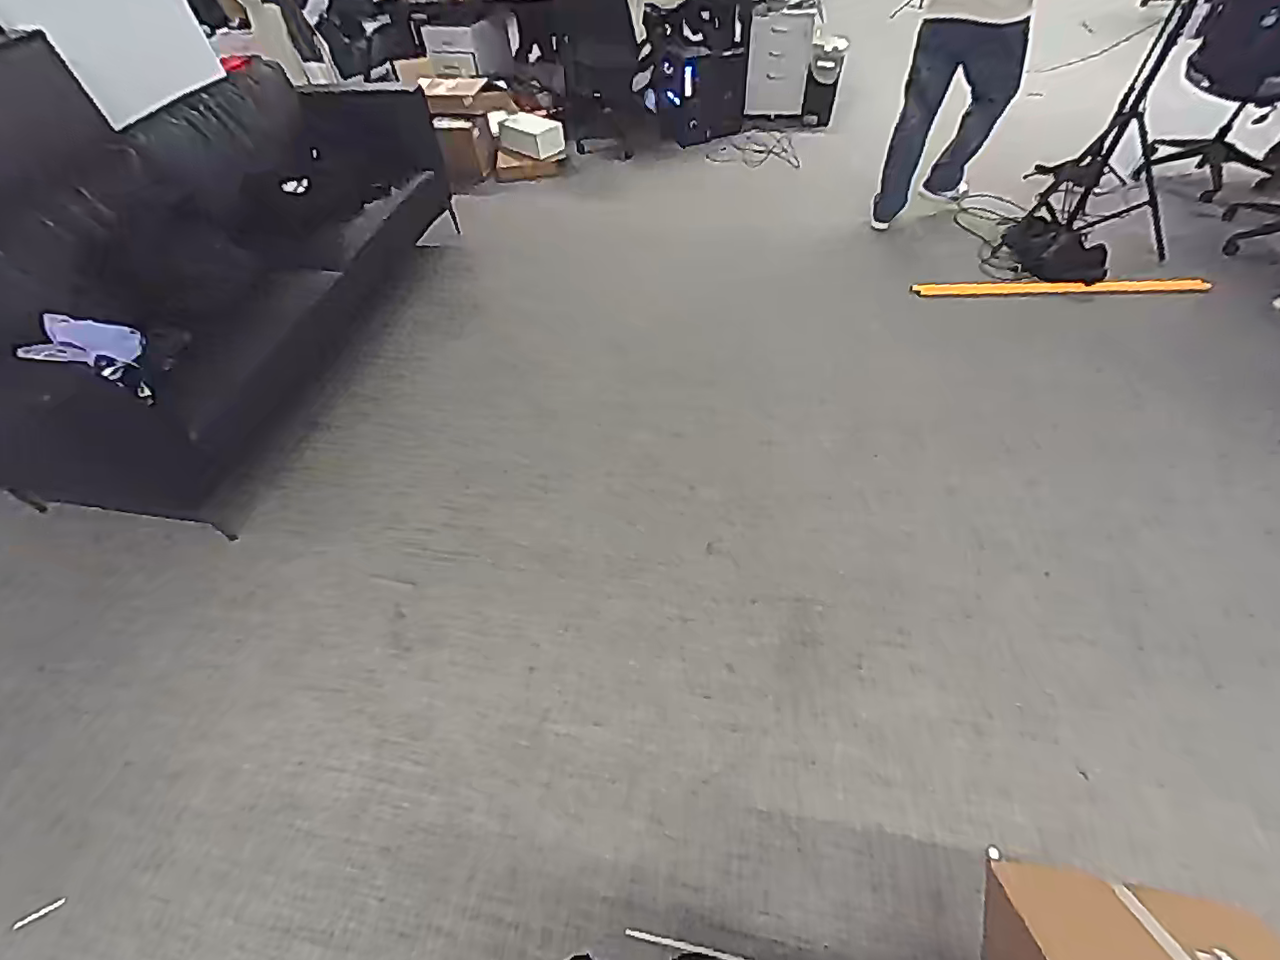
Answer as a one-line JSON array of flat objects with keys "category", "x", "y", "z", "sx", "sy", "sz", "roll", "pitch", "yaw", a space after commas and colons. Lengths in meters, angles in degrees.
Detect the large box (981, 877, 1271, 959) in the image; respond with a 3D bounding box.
[{"category": "large box", "x": 0.601, "y": 0.732, "z": 0.565, "sx": 0.320, "sy": 0.408, "sz": 0.320, "roll": 5, "pitch": 88, "yaw": 13}]
